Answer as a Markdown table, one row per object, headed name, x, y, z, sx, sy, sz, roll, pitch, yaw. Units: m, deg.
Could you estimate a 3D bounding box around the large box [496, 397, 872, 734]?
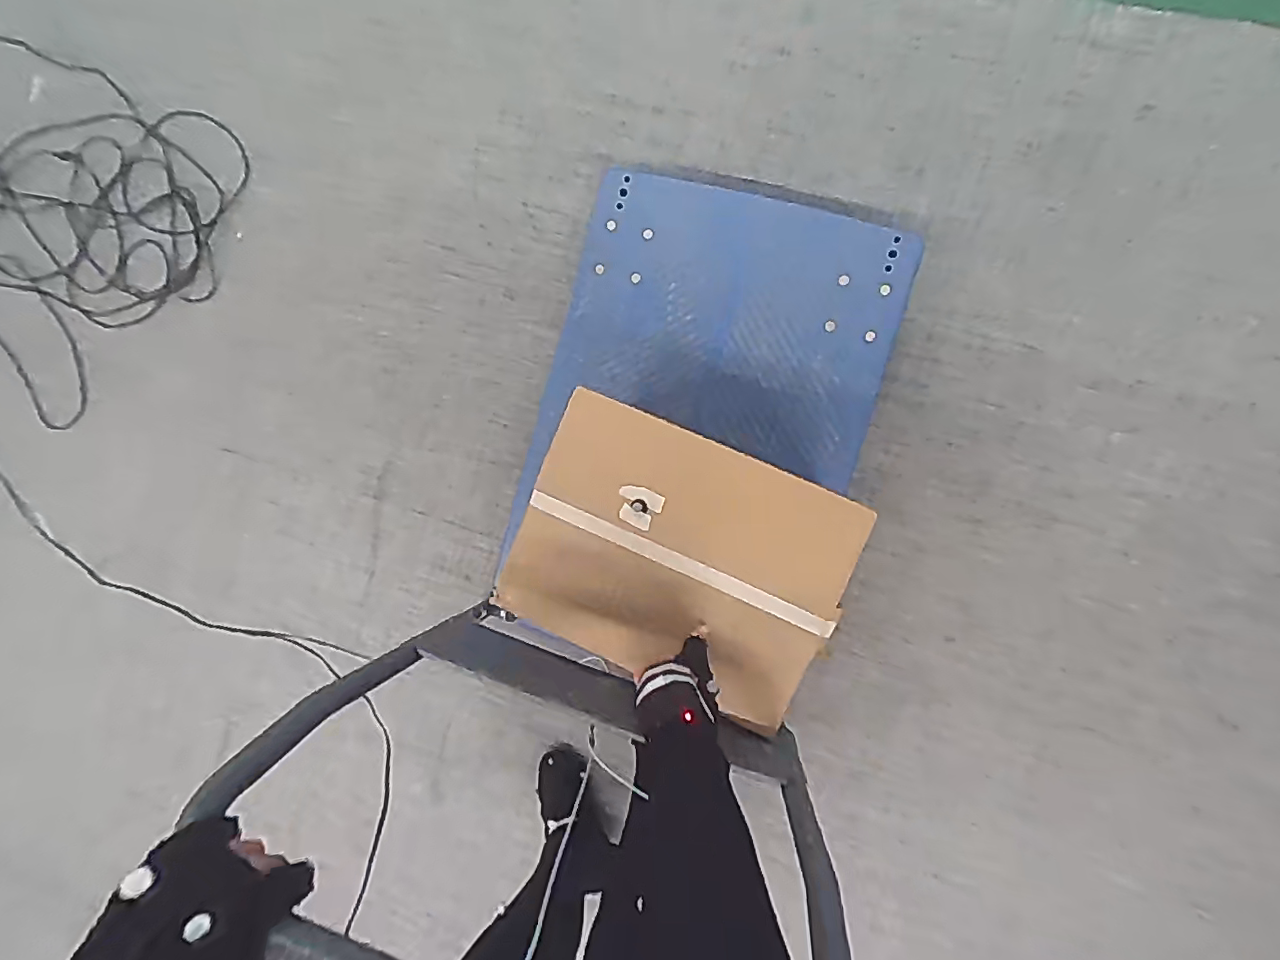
| name | x | y | z | sx | sy | sz | roll | pitch | yaw |
| --- | --- | --- | --- | --- | --- | --- | --- | --- | --- |
| large box | 0.068 | 0.100 | 0.829 | 0.408 | 0.320 | 0.320 | 23 | 95 | 8 |
